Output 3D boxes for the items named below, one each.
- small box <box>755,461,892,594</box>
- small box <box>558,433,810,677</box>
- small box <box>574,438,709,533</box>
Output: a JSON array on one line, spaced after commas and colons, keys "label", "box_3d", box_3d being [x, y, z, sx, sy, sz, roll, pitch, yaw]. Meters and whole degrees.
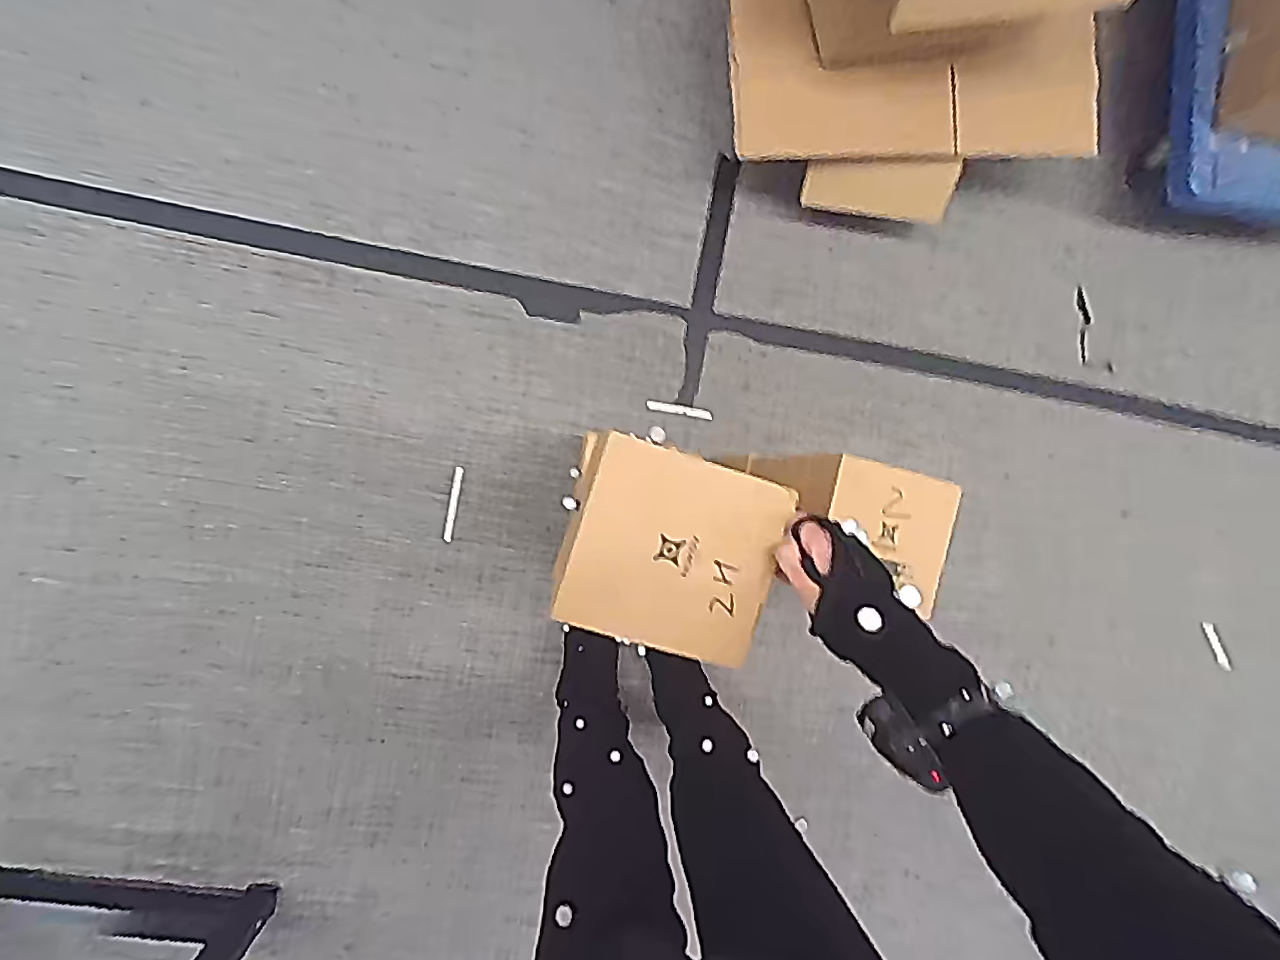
[{"label": "small box", "box_3d": [0.279, 0.071, 0.899, 0.168, 0.176, 0.179, 14, 89, -8]}, {"label": "small box", "box_3d": [0.028, 0.061, 0.525, 0.179, 0.176, 0.168, 18, 91, -9]}, {"label": "small box", "box_3d": [-0.007, 0.033, 0.864, 0.179, 0.176, 0.168, 10, 91, -9]}]
